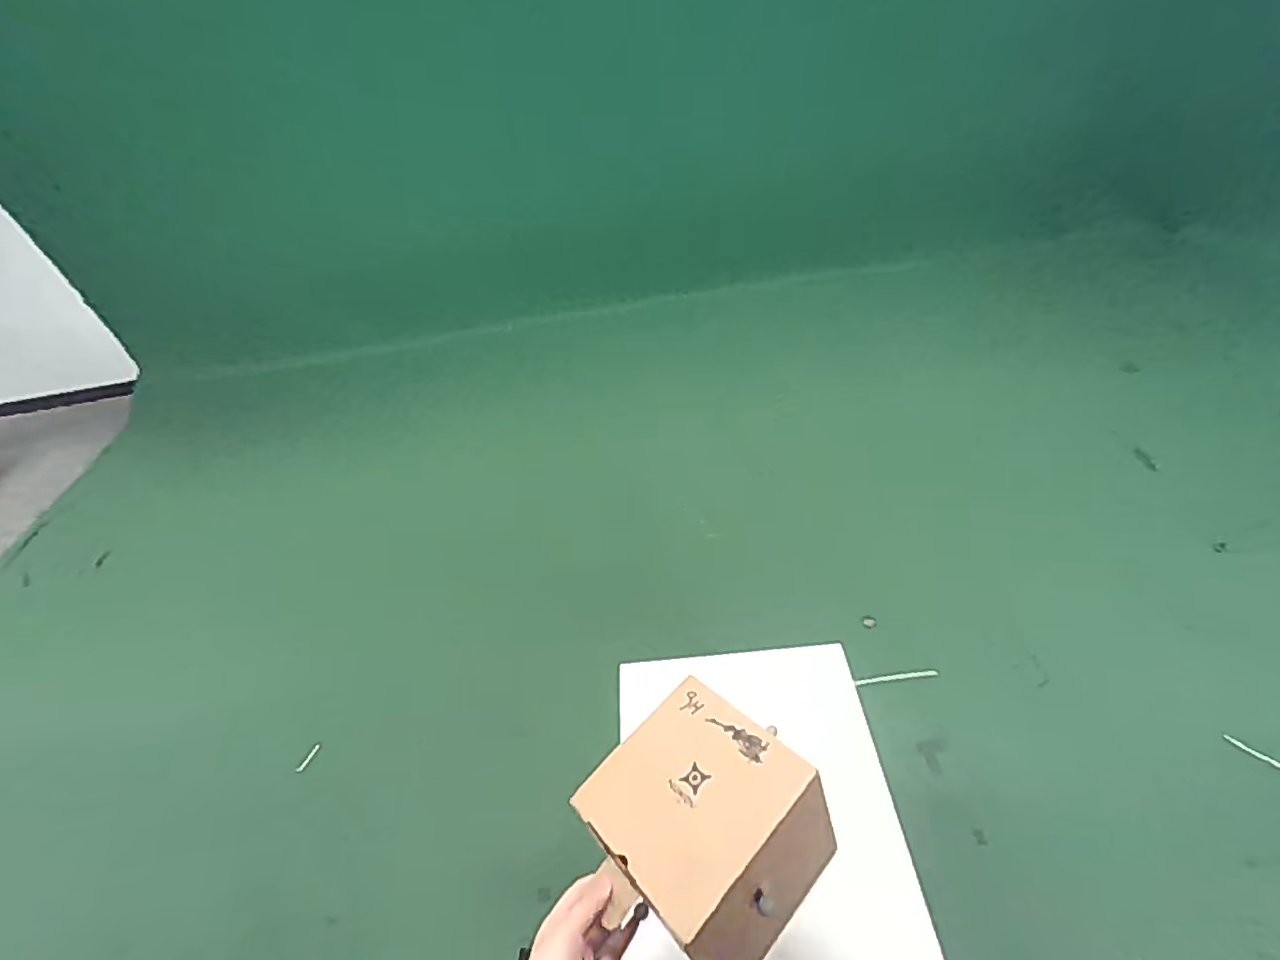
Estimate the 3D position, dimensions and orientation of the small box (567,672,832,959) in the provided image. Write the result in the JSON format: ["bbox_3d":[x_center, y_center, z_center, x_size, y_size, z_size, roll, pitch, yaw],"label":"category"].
[{"bbox_3d":[0.066,0.336,0.526,0.179,0.176,0.168,-39,37,-23],"label":"small box"}]
